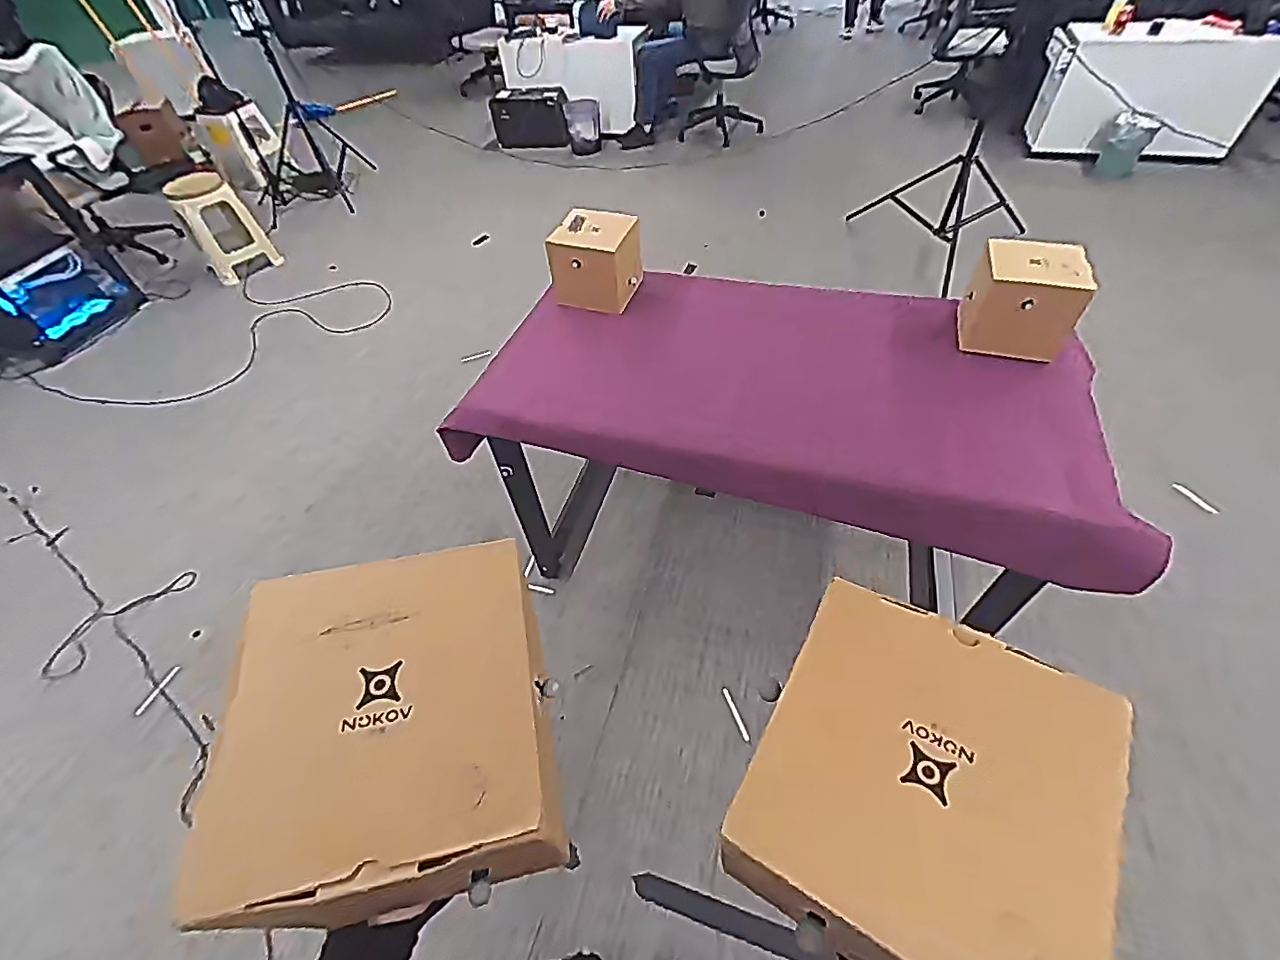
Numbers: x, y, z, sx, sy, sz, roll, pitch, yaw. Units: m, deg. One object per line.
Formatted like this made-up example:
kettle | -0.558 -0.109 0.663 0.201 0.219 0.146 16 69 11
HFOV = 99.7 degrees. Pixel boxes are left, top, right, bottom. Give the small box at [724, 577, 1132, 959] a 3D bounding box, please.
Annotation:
small box | 0.168 0.202 0.348 0.168 0.176 0.179 21 54 26

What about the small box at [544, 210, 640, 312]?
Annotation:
small box | -0.108 -0.534 1.326 0.179 0.176 0.168 14 55 14

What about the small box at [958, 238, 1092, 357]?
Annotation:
small box | 0.777 -0.375 1.118 0.179 0.176 0.168 12 53 14

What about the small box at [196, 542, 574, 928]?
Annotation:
small box | -0.140 0.170 0.365 0.168 0.176 0.179 -9 51 -10
